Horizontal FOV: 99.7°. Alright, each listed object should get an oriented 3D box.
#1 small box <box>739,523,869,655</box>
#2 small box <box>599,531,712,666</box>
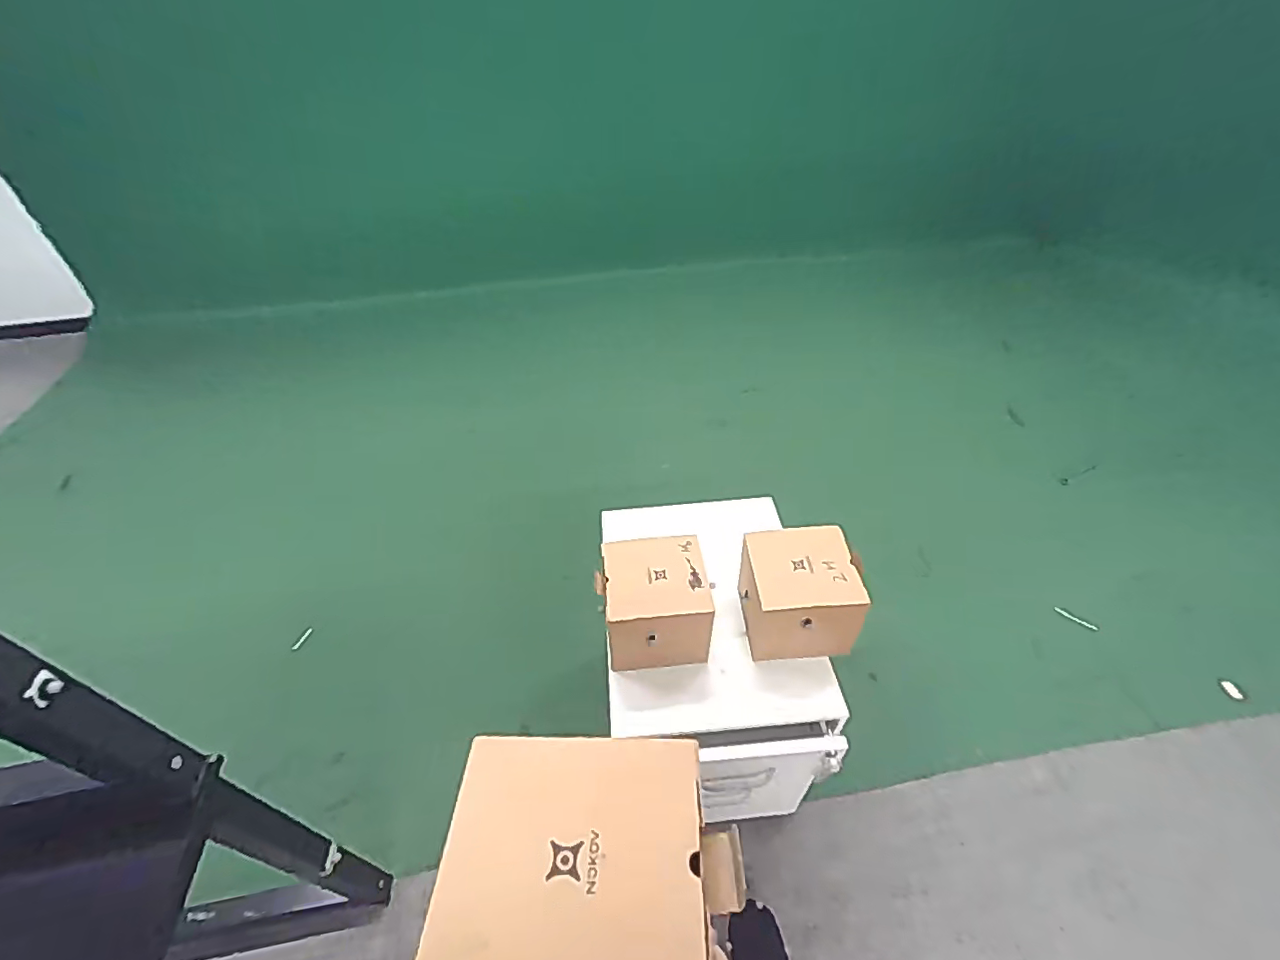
[{"bbox_3d":[0.274,0.195,0.955,0.179,0.176,0.168,-3,45,-1],"label":"small box"},{"bbox_3d":[0.024,0.212,0.954,0.179,0.176,0.168,-5,44,-3],"label":"small box"}]
